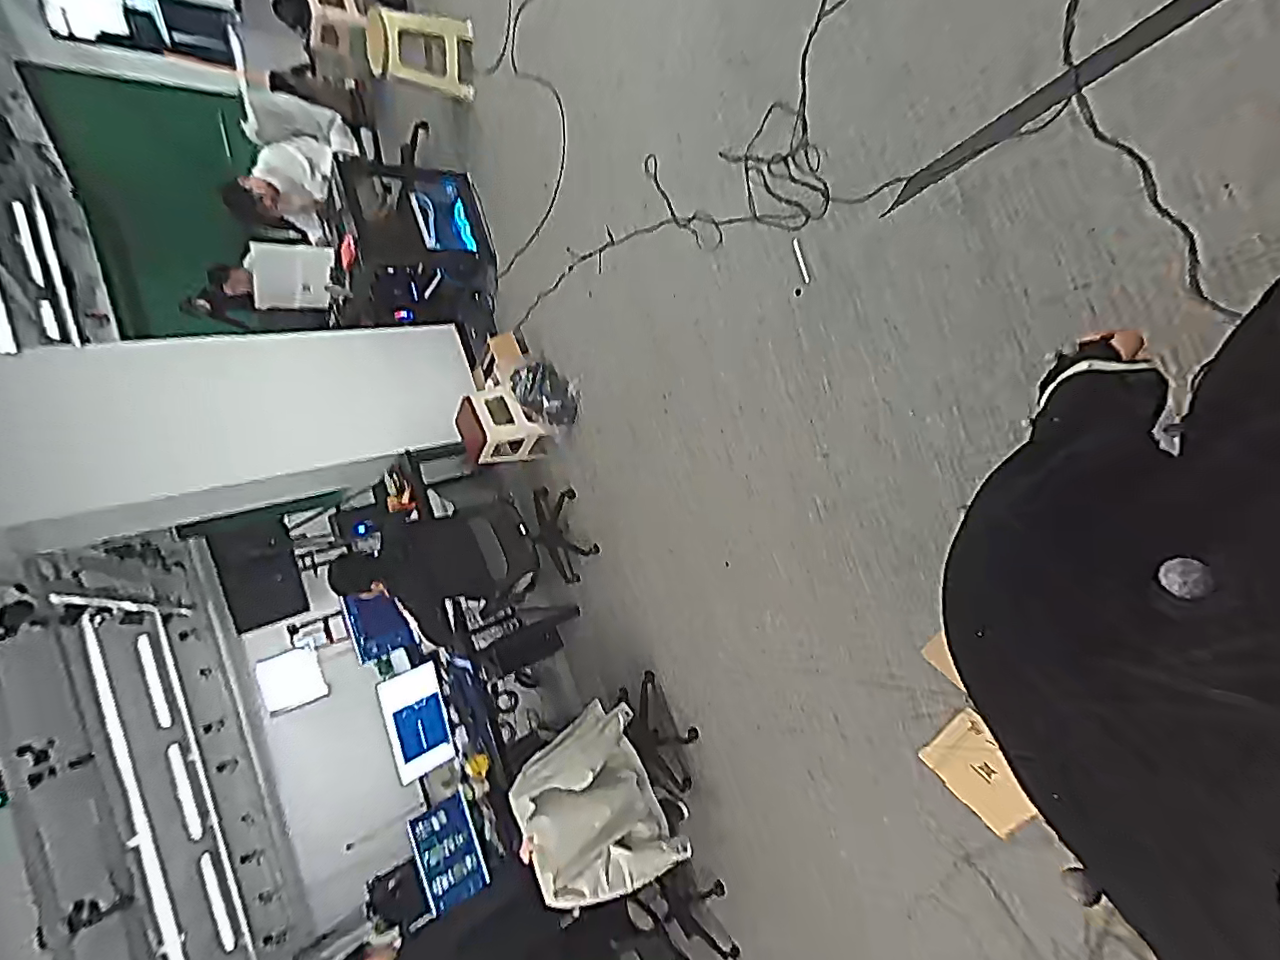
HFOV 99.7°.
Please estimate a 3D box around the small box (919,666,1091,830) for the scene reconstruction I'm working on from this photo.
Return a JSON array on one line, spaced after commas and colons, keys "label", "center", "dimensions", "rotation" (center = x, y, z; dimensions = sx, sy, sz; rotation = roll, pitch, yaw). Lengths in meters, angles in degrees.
[{"label": "small box", "center": [0.650, 0.471, 0.966], "dimensions": [0.168, 0.176, 0.179], "rotation": [45, 136, 34]}]
